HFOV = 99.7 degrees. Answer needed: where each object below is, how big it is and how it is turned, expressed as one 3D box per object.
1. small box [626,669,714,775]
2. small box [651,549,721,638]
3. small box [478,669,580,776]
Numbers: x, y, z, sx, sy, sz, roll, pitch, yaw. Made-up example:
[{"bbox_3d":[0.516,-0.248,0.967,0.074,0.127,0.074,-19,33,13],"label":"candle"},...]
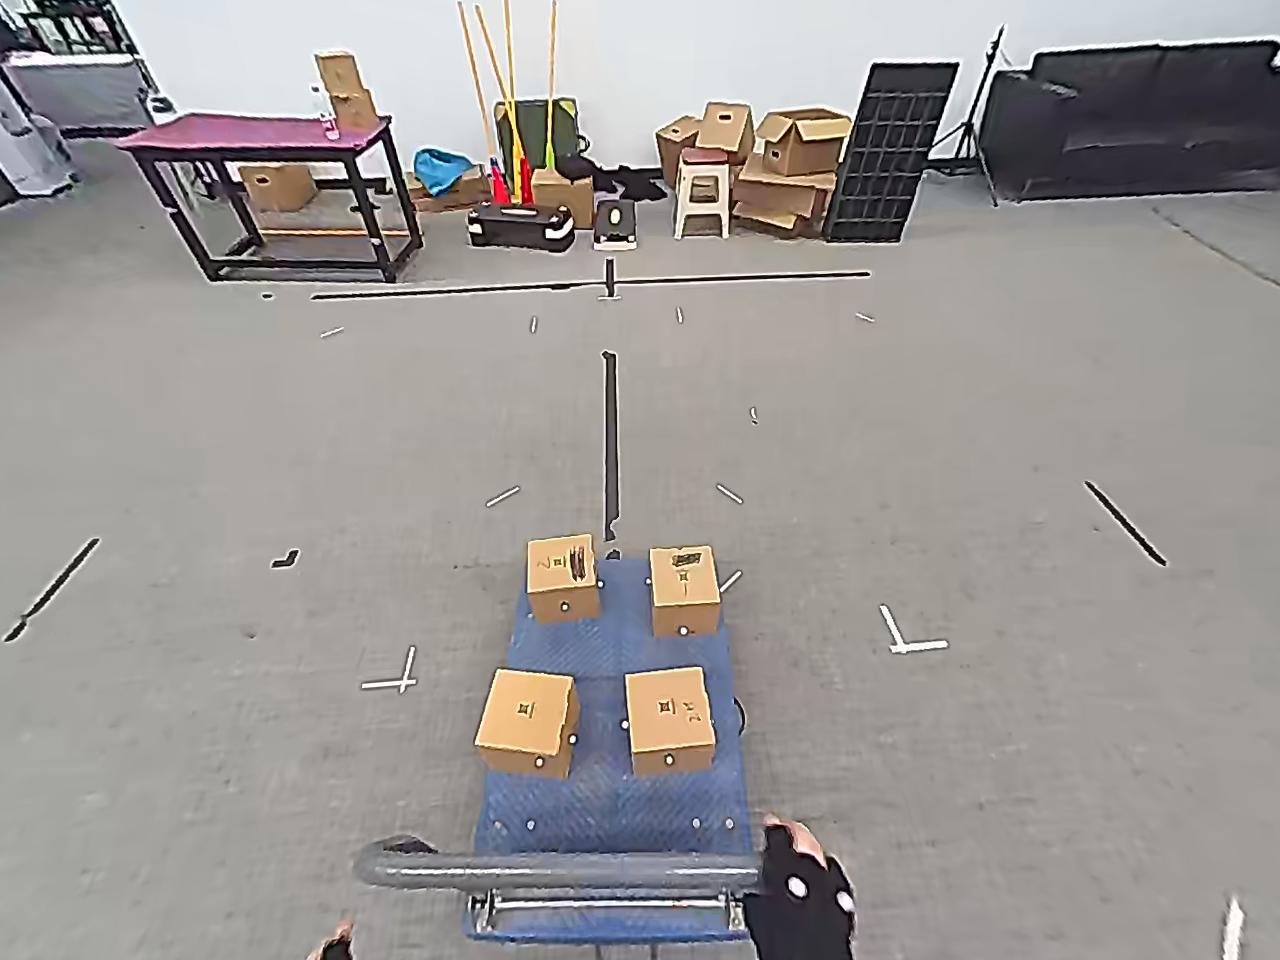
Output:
[{"bbox_3d":[0.064,0.546,1.216,0.179,0.176,0.168,-5,46,-3],"label":"small box"},{"bbox_3d":[0.117,0.305,1.450,0.168,0.176,0.179,-3,47,-1],"label":"small box"},{"bbox_3d":[-0.241,0.550,1.220,0.179,0.176,0.168,5,45,4],"label":"small box"}]
